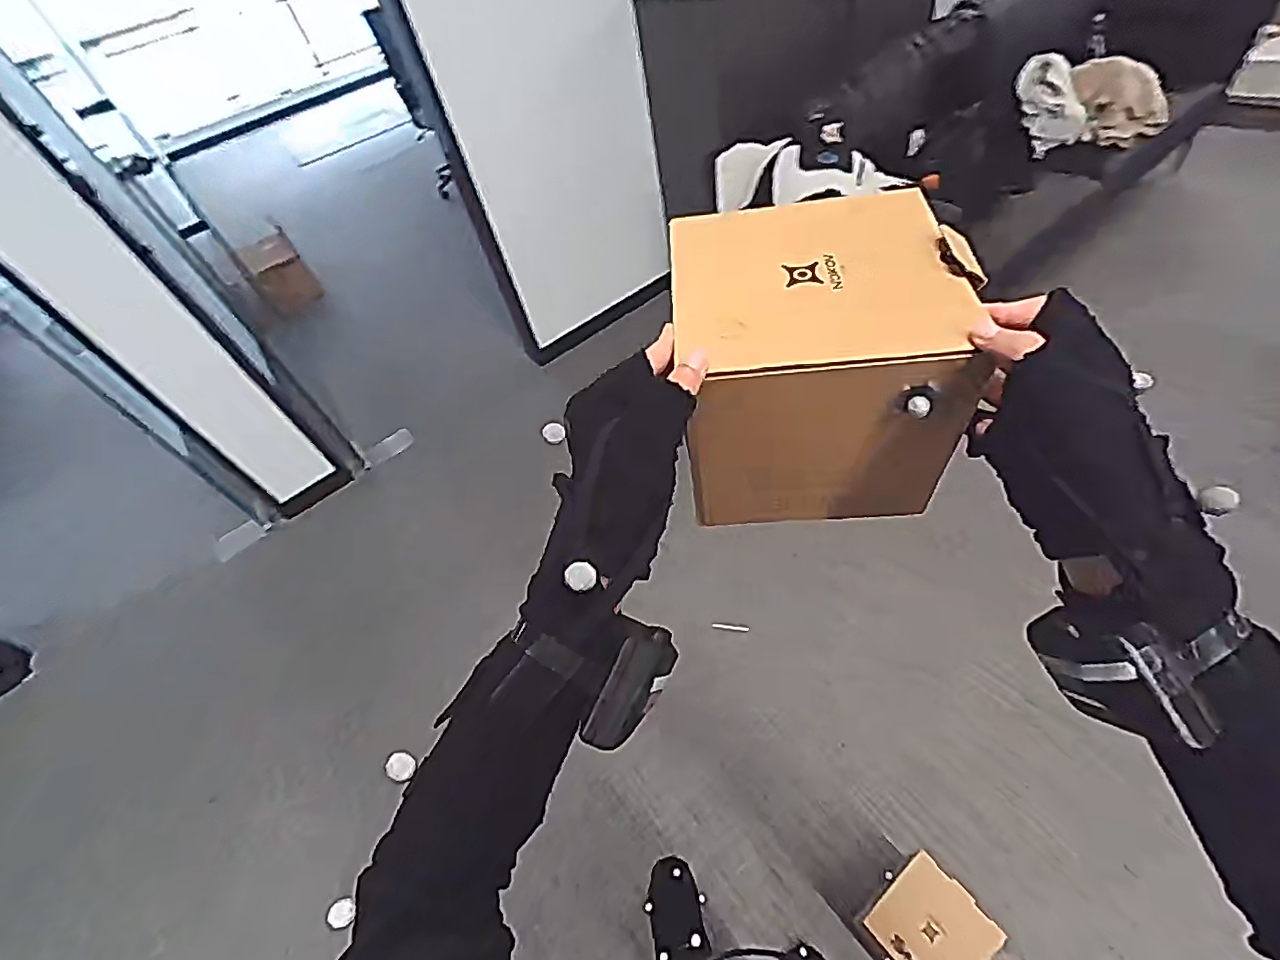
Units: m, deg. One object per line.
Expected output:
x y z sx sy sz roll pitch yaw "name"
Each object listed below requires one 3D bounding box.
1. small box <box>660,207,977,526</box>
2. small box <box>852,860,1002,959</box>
0.111 -0.076 0.412 0.179 0.176 0.168 -4 54 7 "small box"
0.518 0.853 1.004 0.179 0.176 0.168 -35 51 -17 "small box"
